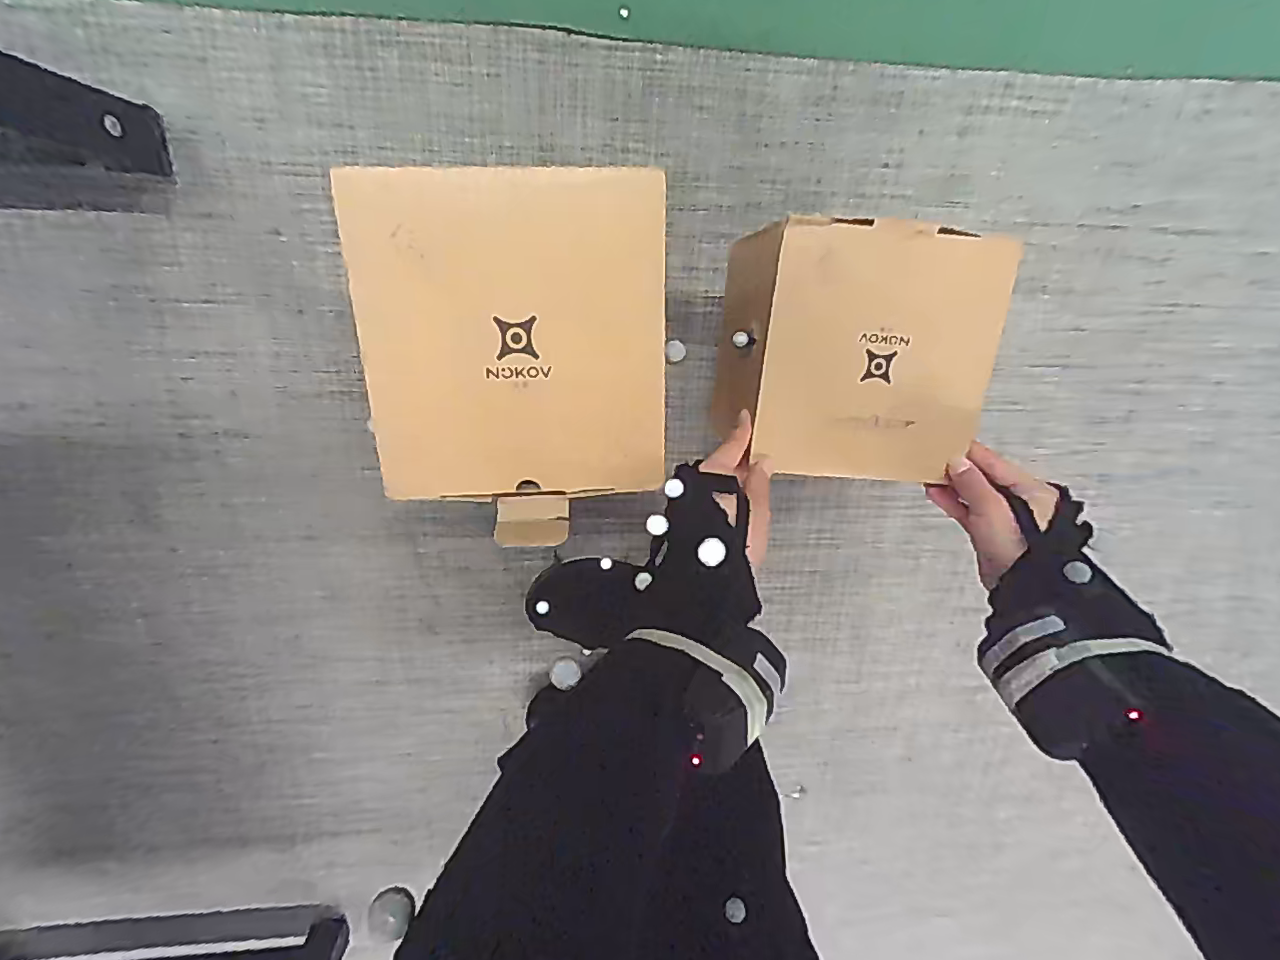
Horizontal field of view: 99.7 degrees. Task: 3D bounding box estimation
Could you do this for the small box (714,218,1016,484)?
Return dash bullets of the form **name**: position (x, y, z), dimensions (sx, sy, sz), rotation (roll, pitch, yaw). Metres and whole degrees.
- **small box**: position (0.164, -0.108, 0.460), dimensions (0.168, 0.176, 0.179), rotation (4, 108, -4)
